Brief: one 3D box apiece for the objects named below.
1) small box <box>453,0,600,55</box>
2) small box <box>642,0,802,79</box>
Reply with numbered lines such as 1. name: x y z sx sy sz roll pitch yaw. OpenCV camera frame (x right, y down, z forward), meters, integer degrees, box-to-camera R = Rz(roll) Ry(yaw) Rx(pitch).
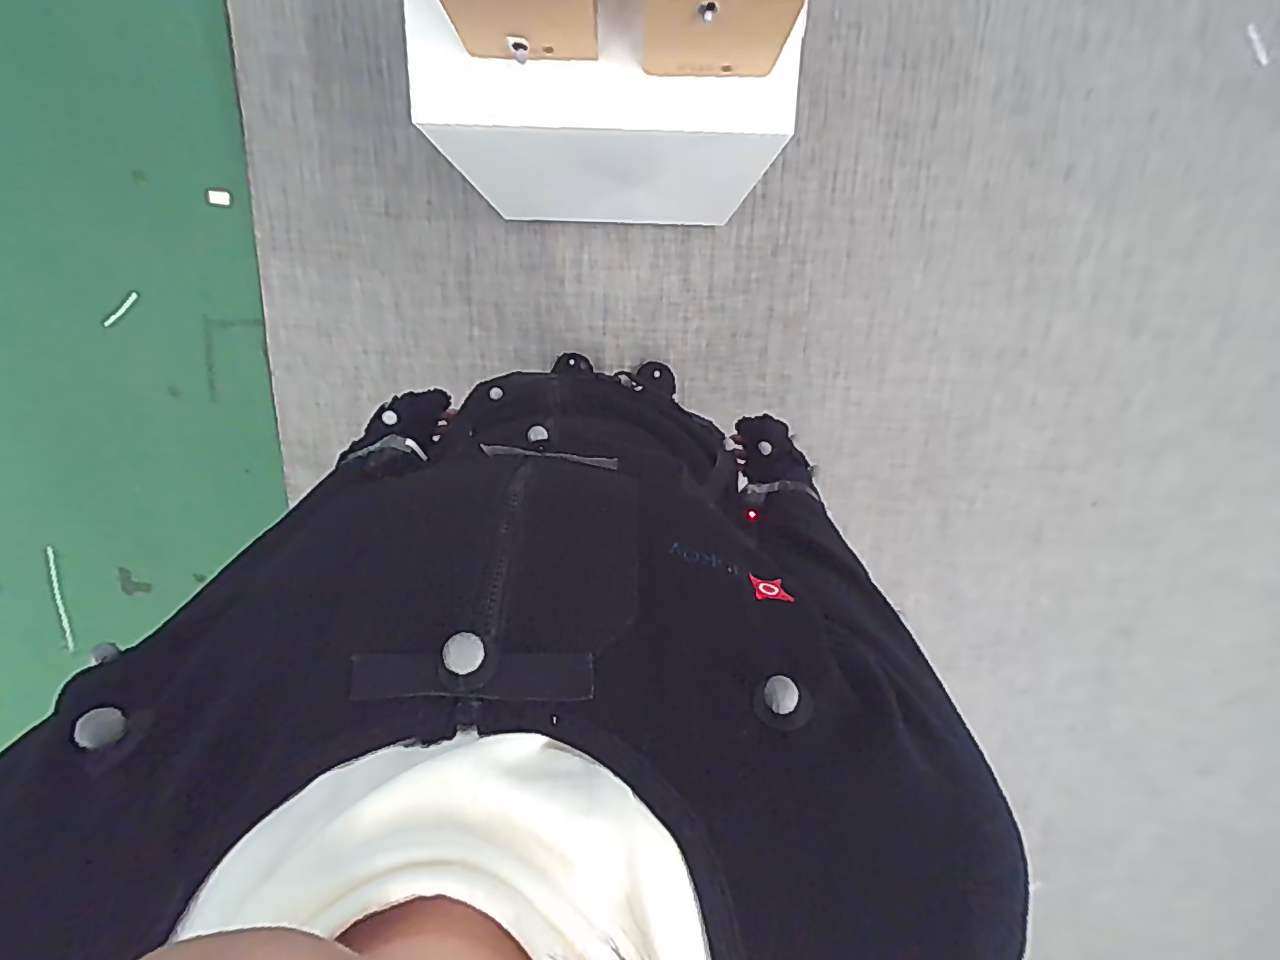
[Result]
1. small box: -0.131 -0.607 0.588 0.168 0.176 0.179 -1 104 0
2. small box: 0.088 -0.595 0.607 0.168 0.176 0.179 1 102 -1
